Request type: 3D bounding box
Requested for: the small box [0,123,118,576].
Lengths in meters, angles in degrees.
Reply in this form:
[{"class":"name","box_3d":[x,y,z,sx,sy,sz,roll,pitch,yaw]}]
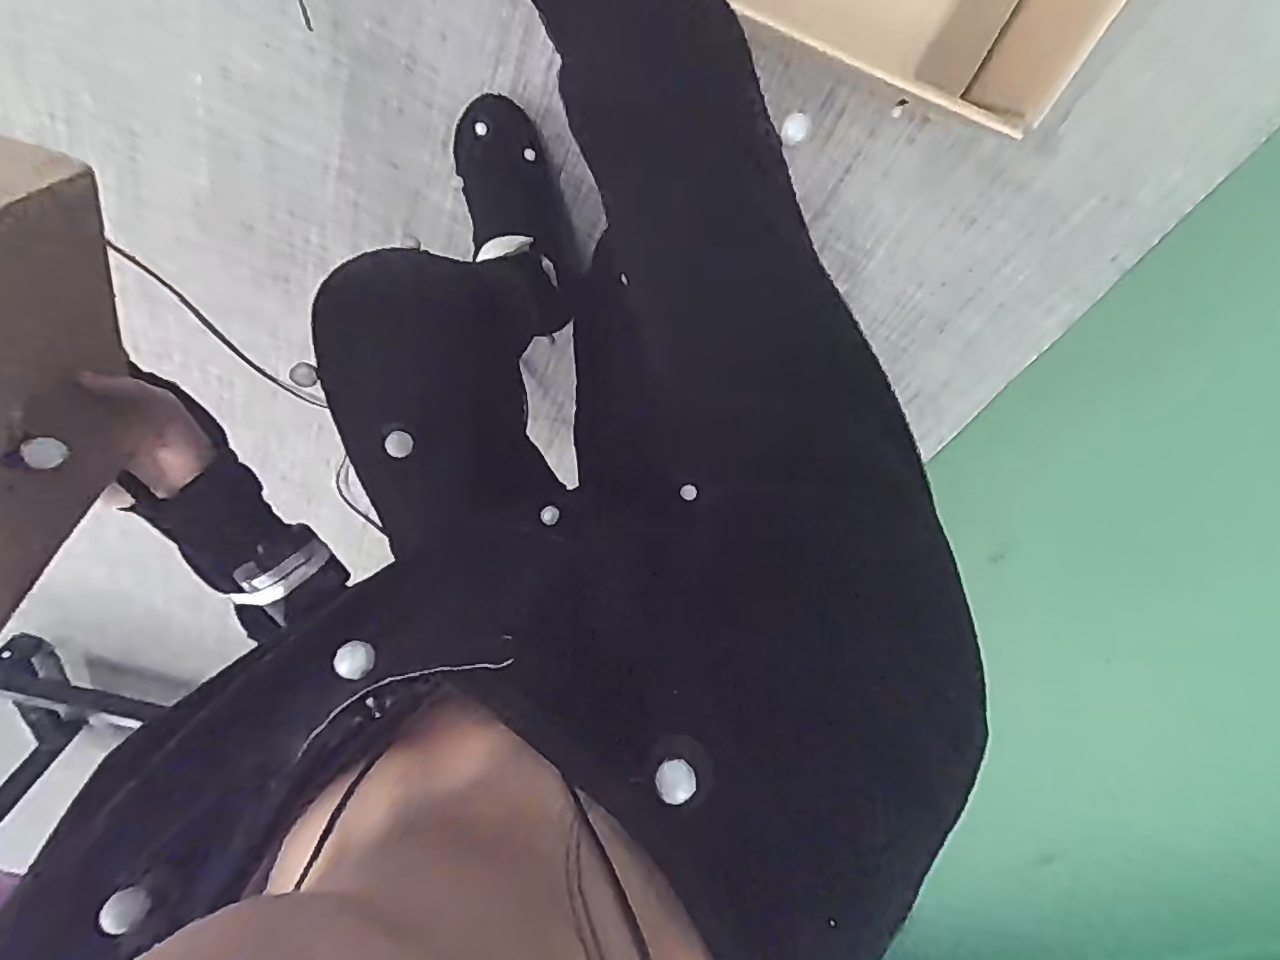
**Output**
[{"class":"small box","box_3d":[-0.343,-0.049,0.202,0.168,0.176,0.179,10,127,-26]}]
